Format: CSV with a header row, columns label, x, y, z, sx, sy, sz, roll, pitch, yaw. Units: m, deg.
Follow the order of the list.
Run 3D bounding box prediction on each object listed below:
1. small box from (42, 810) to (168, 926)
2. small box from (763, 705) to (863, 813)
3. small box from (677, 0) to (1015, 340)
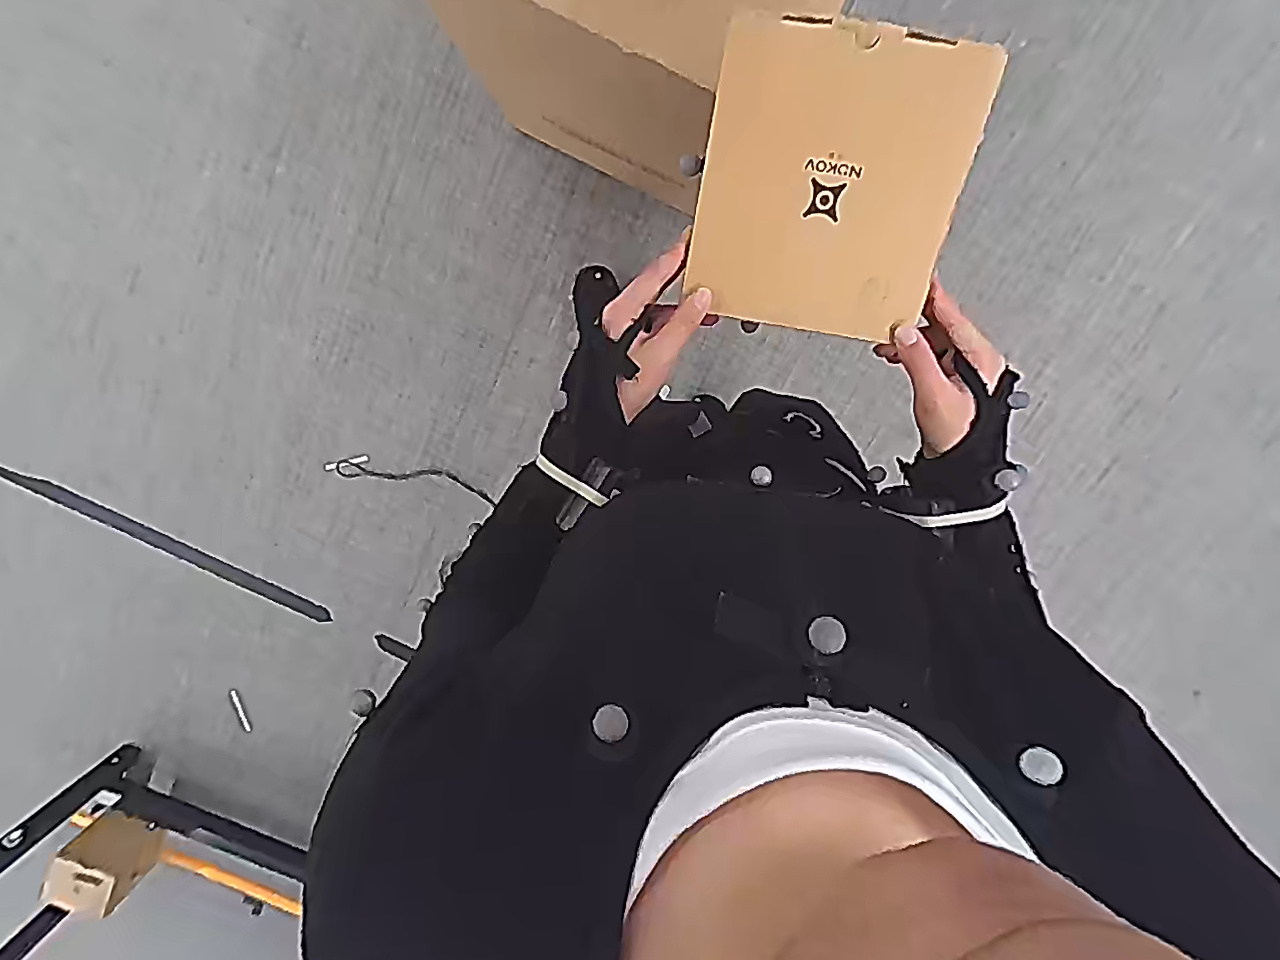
label,x,y,z,sx,sy,sz,roll,pitch,yaw
small box,-1.458,1.055,1.484,0.168,0.176,0.179,26,104,-6
small box,0.456,0.740,1.451,0.179,0.176,0.168,24,103,-4
small box,0.127,-0.218,0.410,0.168,0.176,0.179,10,112,2
